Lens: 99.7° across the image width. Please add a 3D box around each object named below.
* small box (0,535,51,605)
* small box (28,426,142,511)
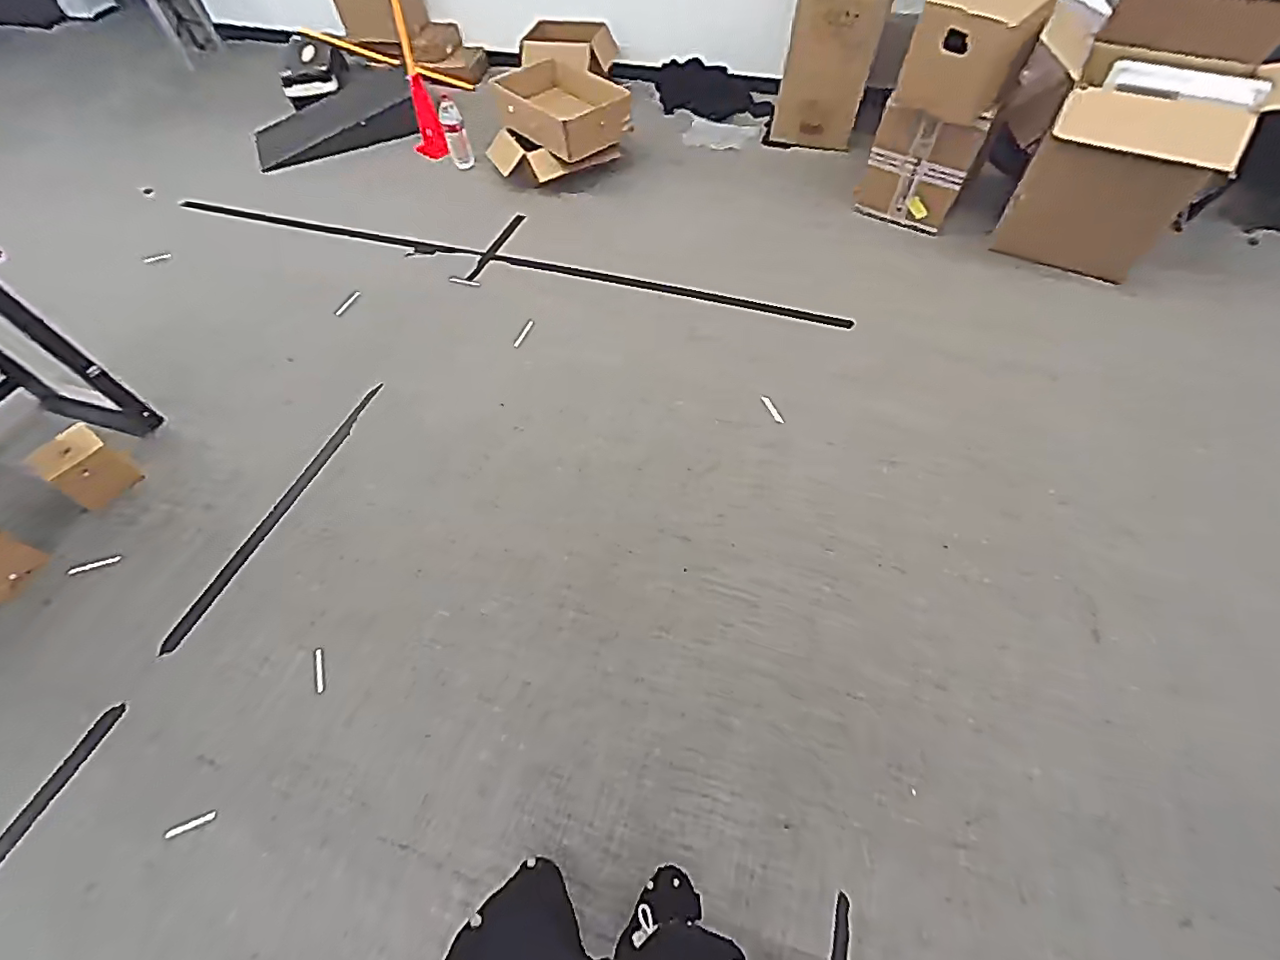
[{"bbox_3d":[-1.911,0.243,1.569,0.179,0.176,0.168,15,58,11],"label":"small box"},{"bbox_3d":[-1.781,-0.035,1.751,0.168,0.176,0.179,30,64,20],"label":"small box"}]
